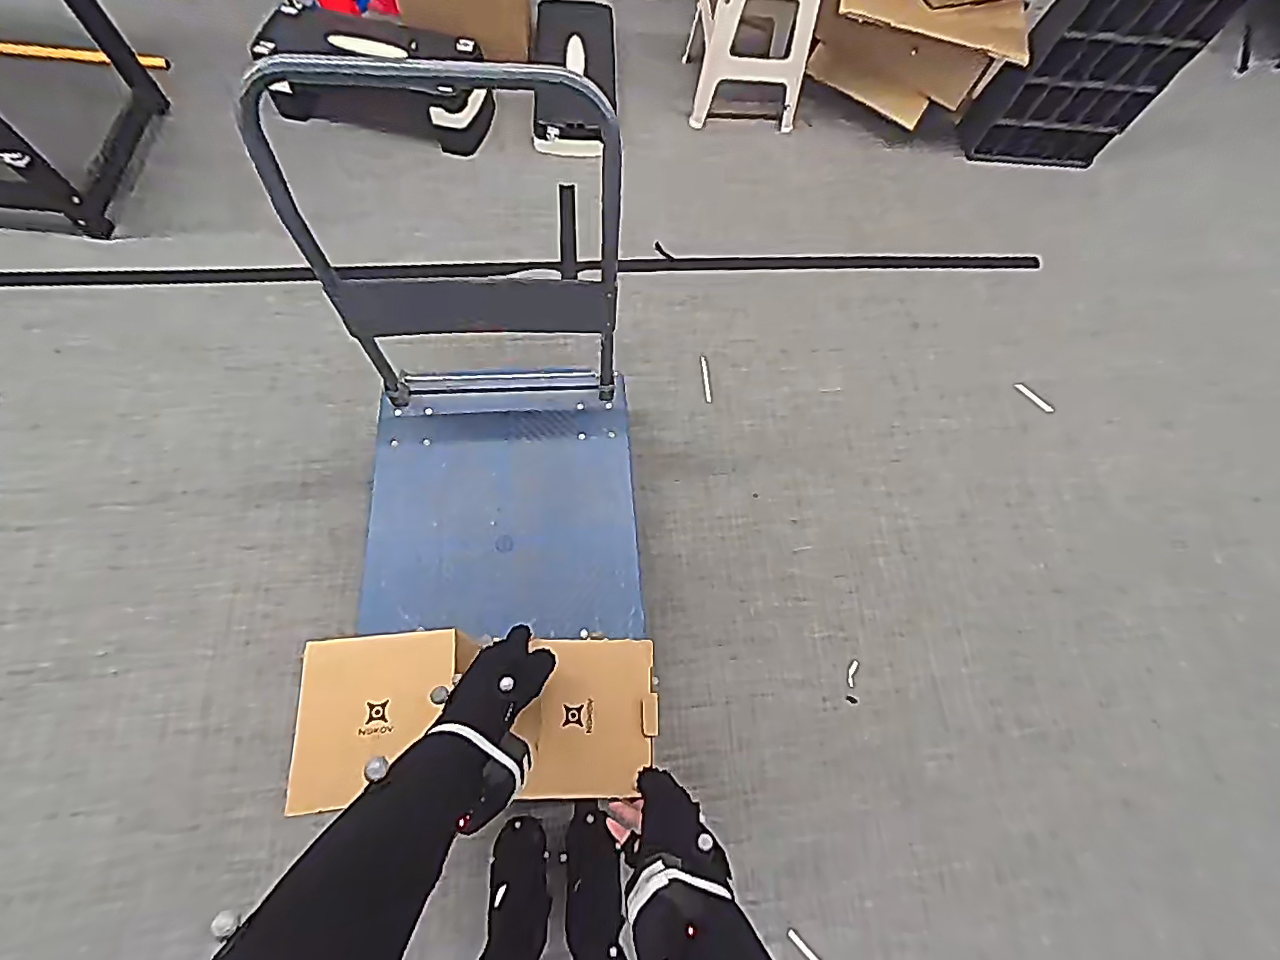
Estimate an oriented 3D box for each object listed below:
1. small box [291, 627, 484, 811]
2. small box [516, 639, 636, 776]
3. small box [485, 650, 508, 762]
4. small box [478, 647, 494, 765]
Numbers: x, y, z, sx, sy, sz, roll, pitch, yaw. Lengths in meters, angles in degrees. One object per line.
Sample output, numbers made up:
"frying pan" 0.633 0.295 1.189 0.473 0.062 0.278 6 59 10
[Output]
"small box" -0.292 0.286 0.666 0.168 0.176 0.179 -3 69 -7
"small box" -0.097 0.347 0.838 0.168 0.176 0.179 0 69 -6
"small box" -0.331 0.406 0.969 0.168 0.176 0.179 -3 69 -8
"small box" -0.317 0.348 0.816 0.168 0.176 0.179 -5 70 -8
